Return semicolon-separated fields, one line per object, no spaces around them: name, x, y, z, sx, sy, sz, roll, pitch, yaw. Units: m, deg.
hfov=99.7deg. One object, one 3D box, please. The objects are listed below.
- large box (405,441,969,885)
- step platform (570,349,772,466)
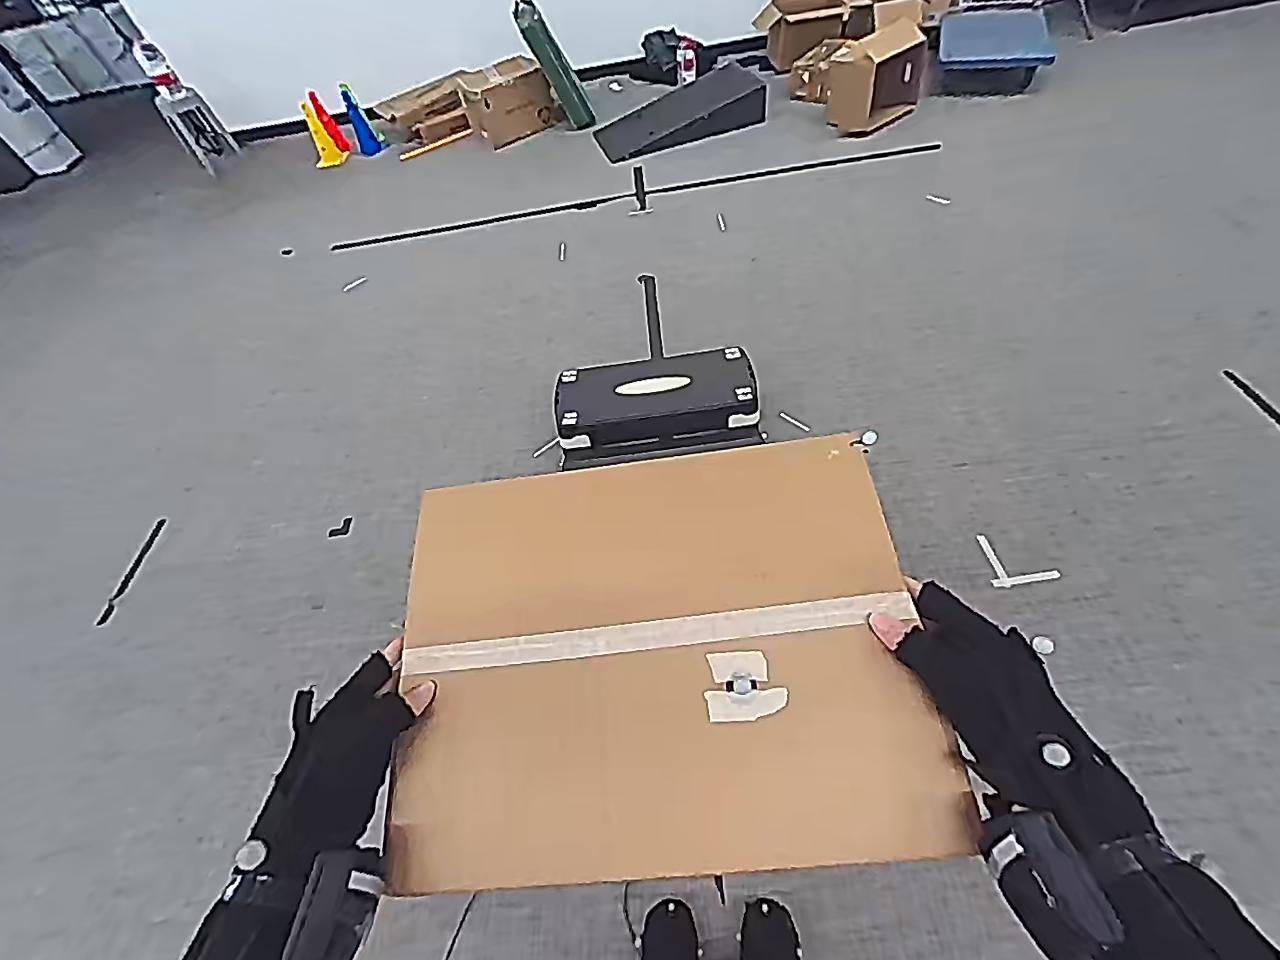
large box;0.031;0.194;0.572;0.408;0.320;0.320;-8;63;5
step platform;0.101;-0.254;1.863;0.684;0.204;0.286;-8;53;3
